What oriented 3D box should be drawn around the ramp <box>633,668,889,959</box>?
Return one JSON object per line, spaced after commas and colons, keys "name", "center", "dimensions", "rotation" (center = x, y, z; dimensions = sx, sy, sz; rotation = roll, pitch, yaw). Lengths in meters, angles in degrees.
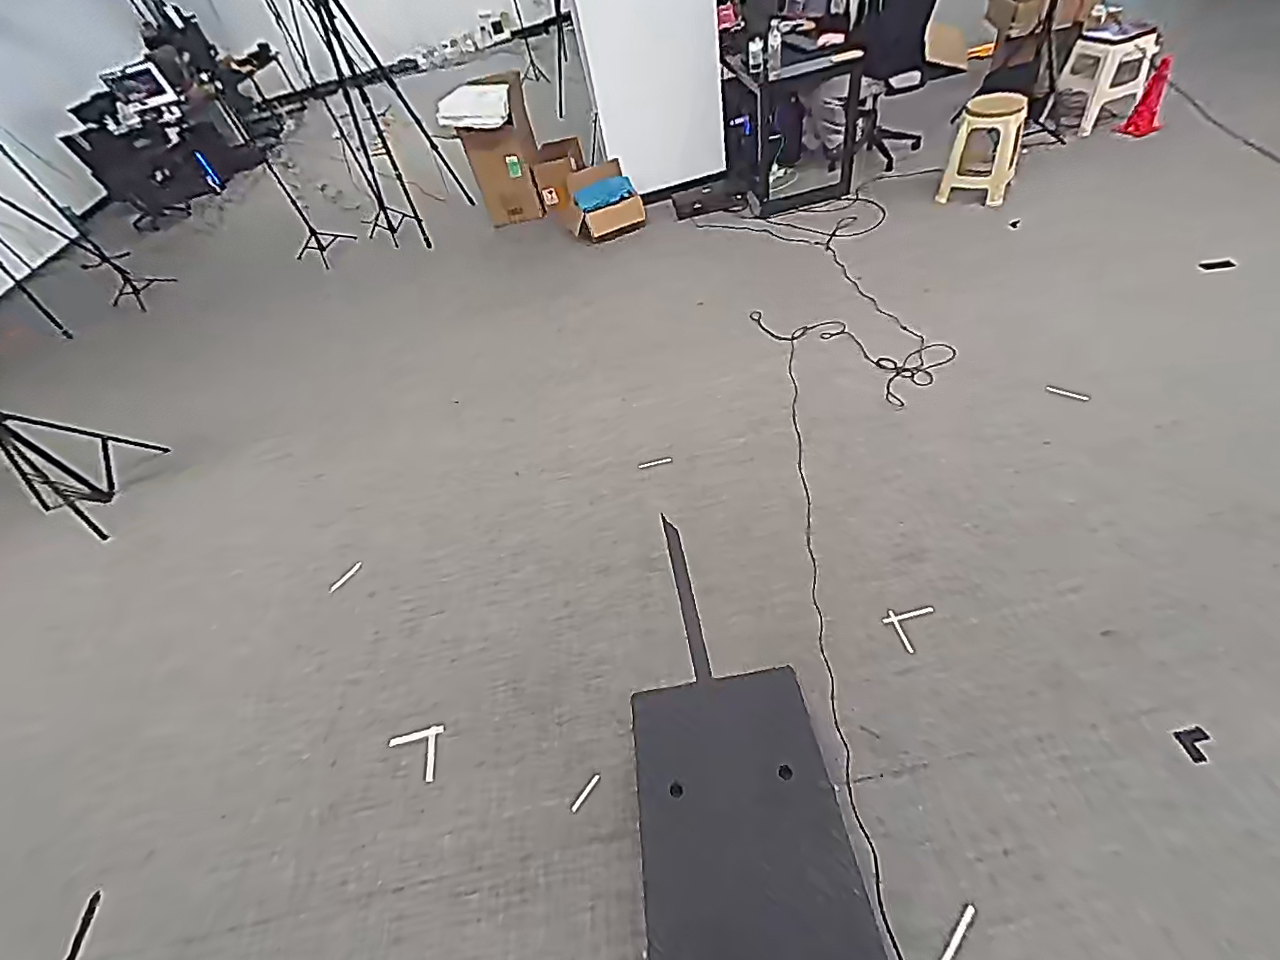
{"name": "ramp", "center": [0.247, 0.908, 1.222], "dimensions": [0.509, 0.206, 0.991], "rotation": [-14, 47, 4]}
